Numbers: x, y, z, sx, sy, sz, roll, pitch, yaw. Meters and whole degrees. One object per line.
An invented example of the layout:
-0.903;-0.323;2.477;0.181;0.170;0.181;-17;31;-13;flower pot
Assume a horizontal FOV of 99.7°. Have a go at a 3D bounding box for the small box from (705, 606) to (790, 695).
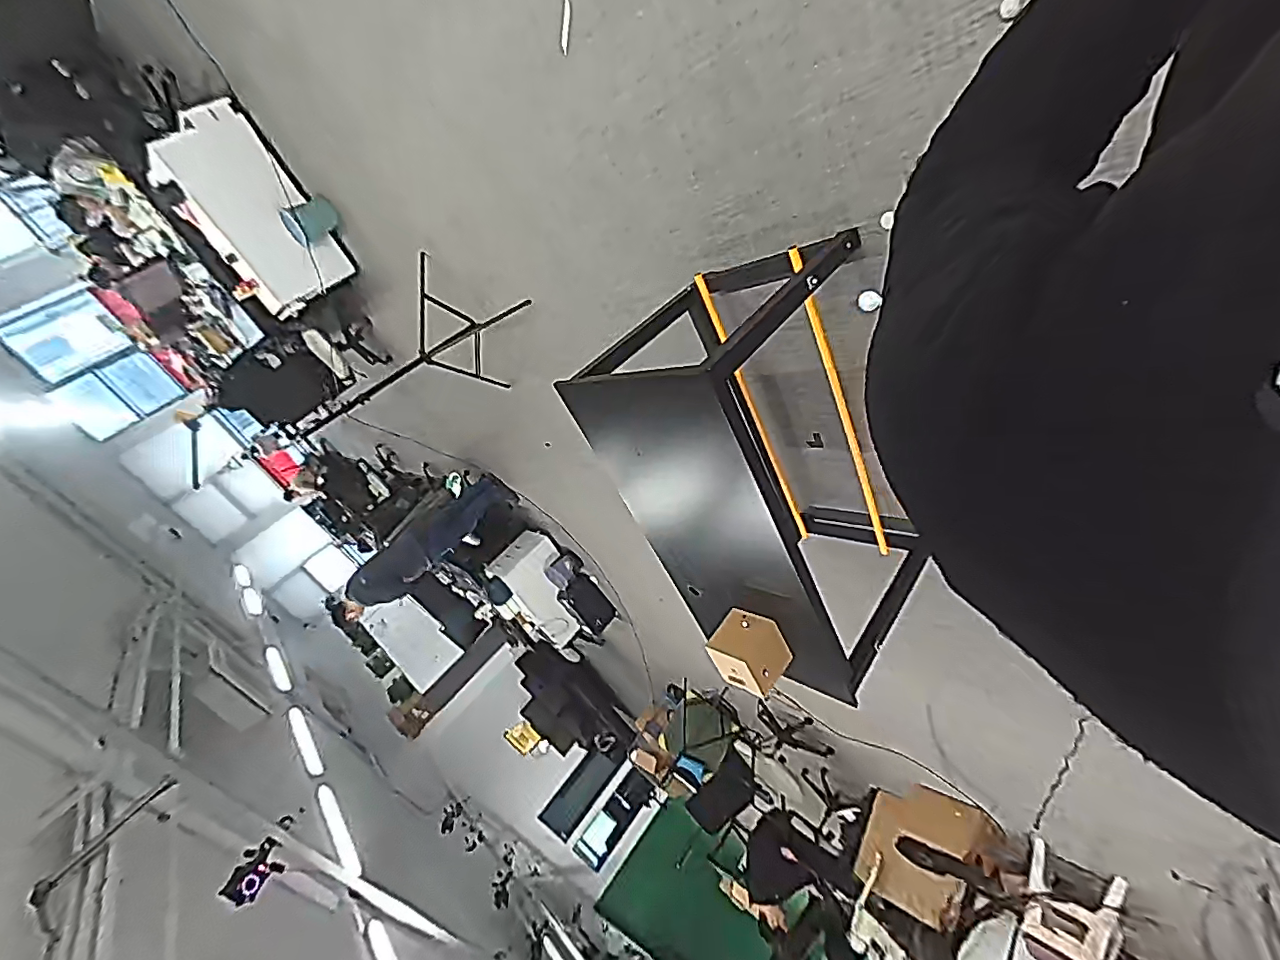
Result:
0.344;0.530;1.699;0.168;0.176;0.179;6;133;51;small box
